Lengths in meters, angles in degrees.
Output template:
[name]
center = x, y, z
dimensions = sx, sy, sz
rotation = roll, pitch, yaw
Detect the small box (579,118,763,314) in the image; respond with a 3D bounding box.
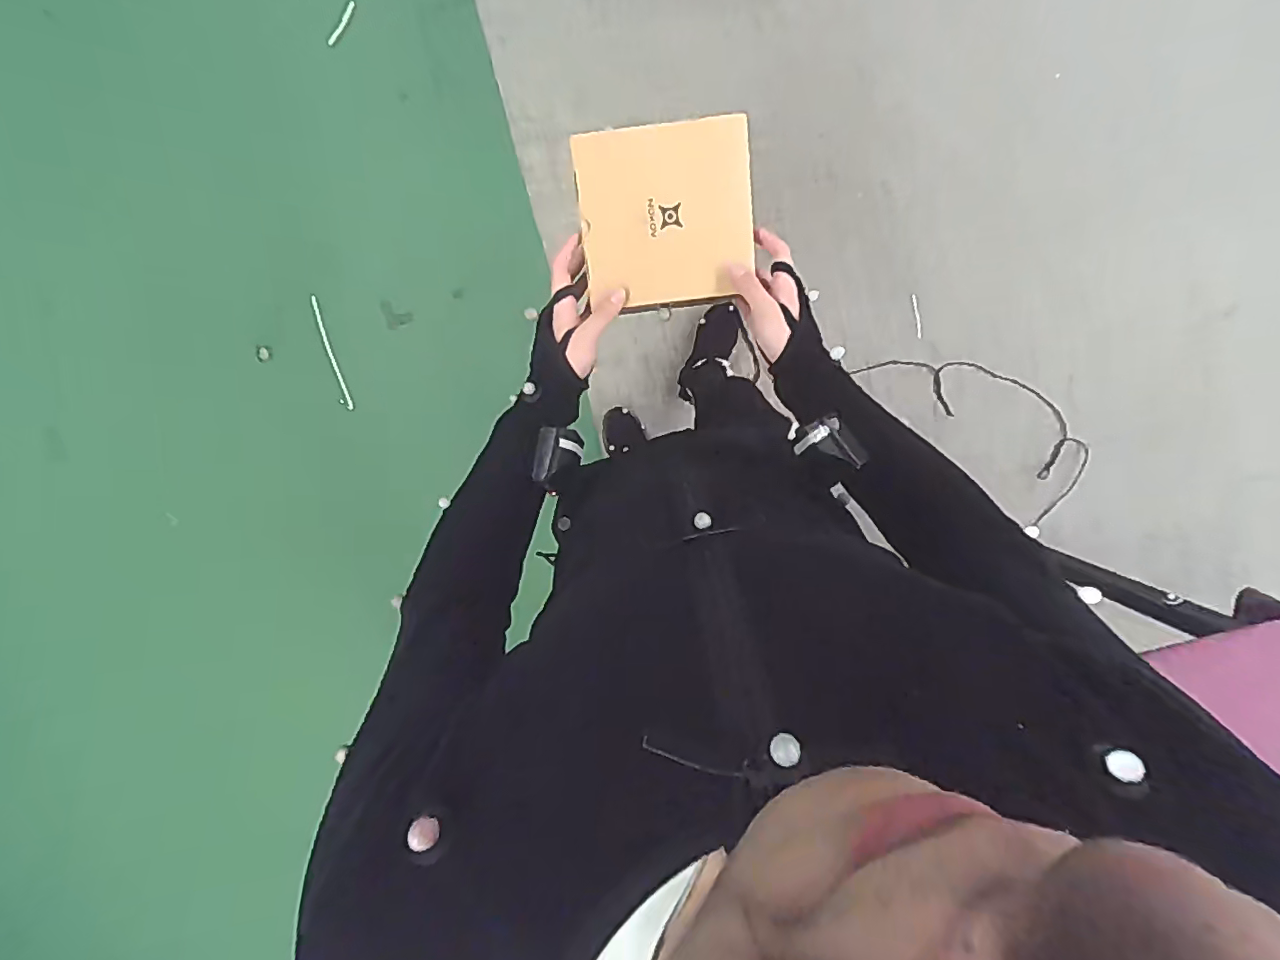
[small box]
center = 0.032, -0.284, 0.617
dimensions = 0.179, 0.176, 0.168
rotation = -7, 105, 1
